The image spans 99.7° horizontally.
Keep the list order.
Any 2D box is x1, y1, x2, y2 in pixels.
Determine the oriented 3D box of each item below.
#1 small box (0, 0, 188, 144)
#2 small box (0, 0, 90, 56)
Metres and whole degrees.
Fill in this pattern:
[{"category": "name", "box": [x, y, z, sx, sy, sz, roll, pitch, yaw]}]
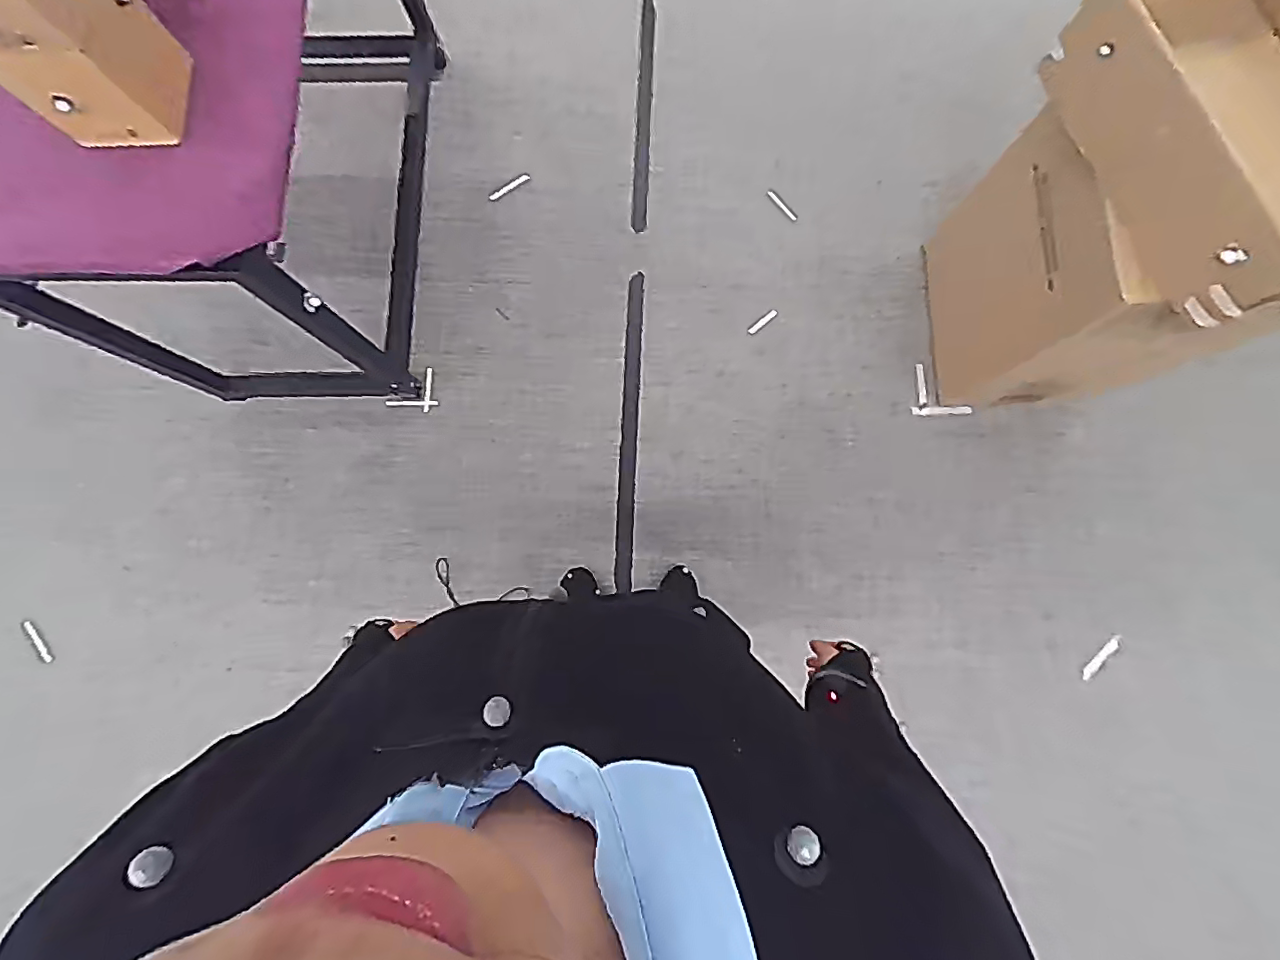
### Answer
[{"category": "small box", "box": [-0.857, -0.656, 0.845, 0.168, 0.176, 0.179, -2, 80, 0]}, {"category": "small box", "box": [-0.853, -0.686, 0.683, 0.168, 0.176, 0.179, -2, 81, 0]}]
